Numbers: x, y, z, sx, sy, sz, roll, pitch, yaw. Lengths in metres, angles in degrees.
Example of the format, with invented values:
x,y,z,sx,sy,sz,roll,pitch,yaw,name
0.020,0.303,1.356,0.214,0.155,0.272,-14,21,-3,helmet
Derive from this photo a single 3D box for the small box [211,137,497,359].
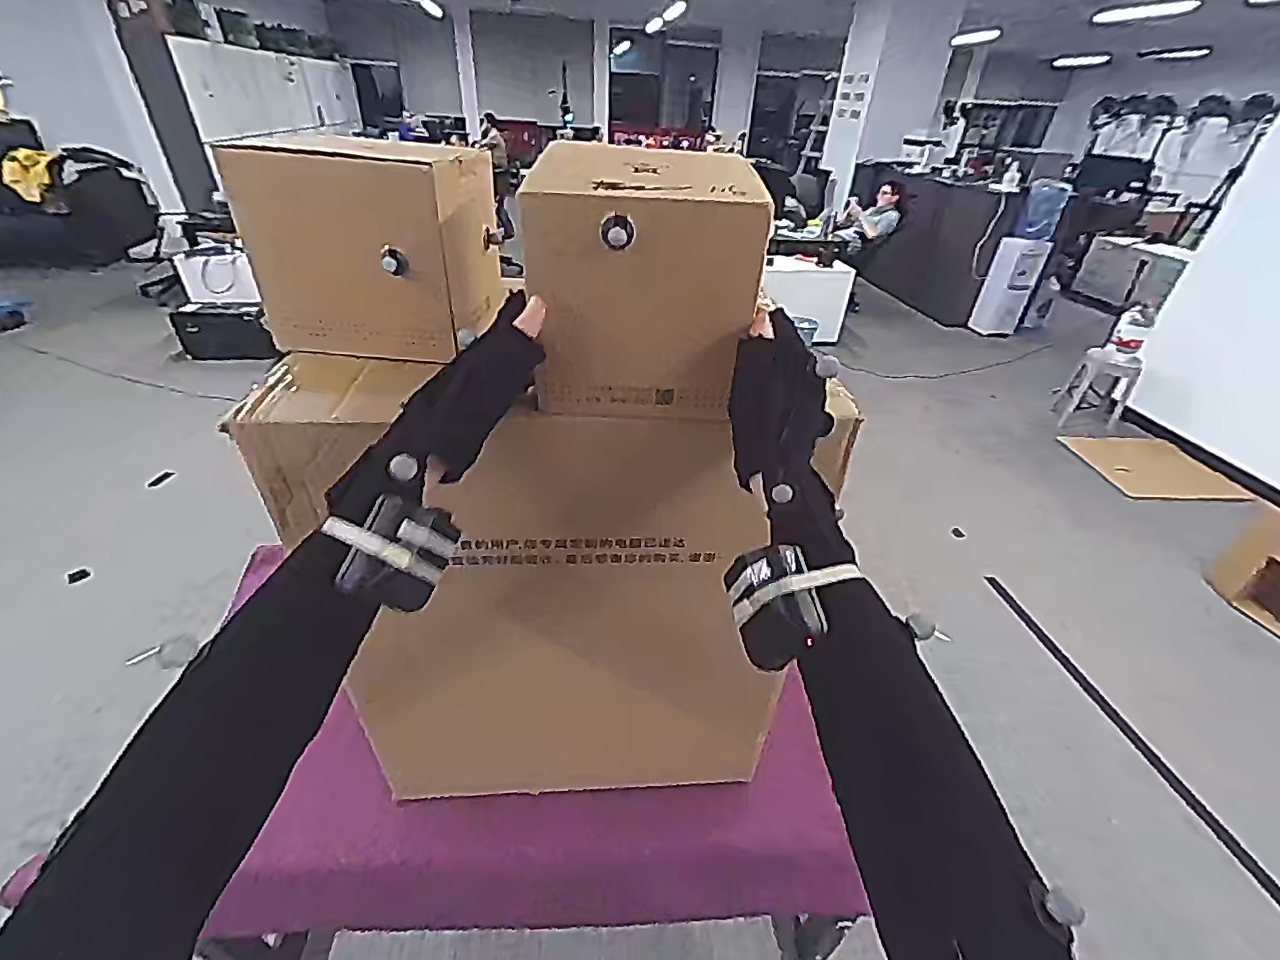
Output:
x,y,z,sx,sy,sz,roll,pitch,yaw,name
-0.247,-0.227,0.527,0.179,0.176,0.168,3,33,0,small box

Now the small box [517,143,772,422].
x,y,z,sx,sy,sz,roll,pitch,yaw,name
0.000,-0.168,0.454,0.168,0.176,0.179,2,40,-1,small box
